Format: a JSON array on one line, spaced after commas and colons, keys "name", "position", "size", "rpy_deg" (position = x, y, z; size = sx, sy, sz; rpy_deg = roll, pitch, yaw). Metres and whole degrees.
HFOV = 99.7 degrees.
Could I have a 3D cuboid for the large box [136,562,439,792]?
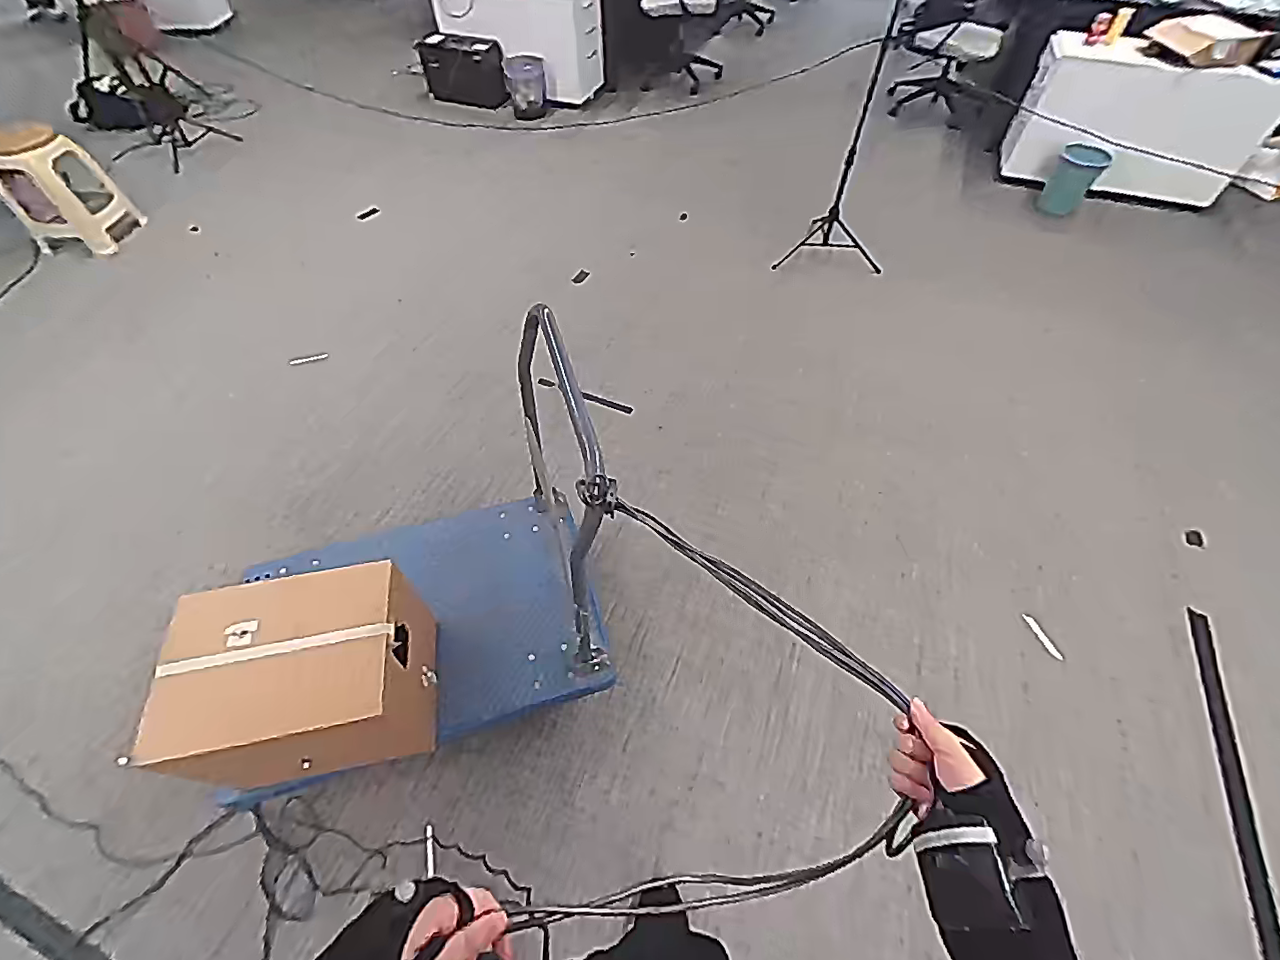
[{"name": "large box", "position": [-0.660, 0.408, 1.110], "size": [0.408, 0.320, 0.320], "rpy_deg": [-10, 53, -7]}]
